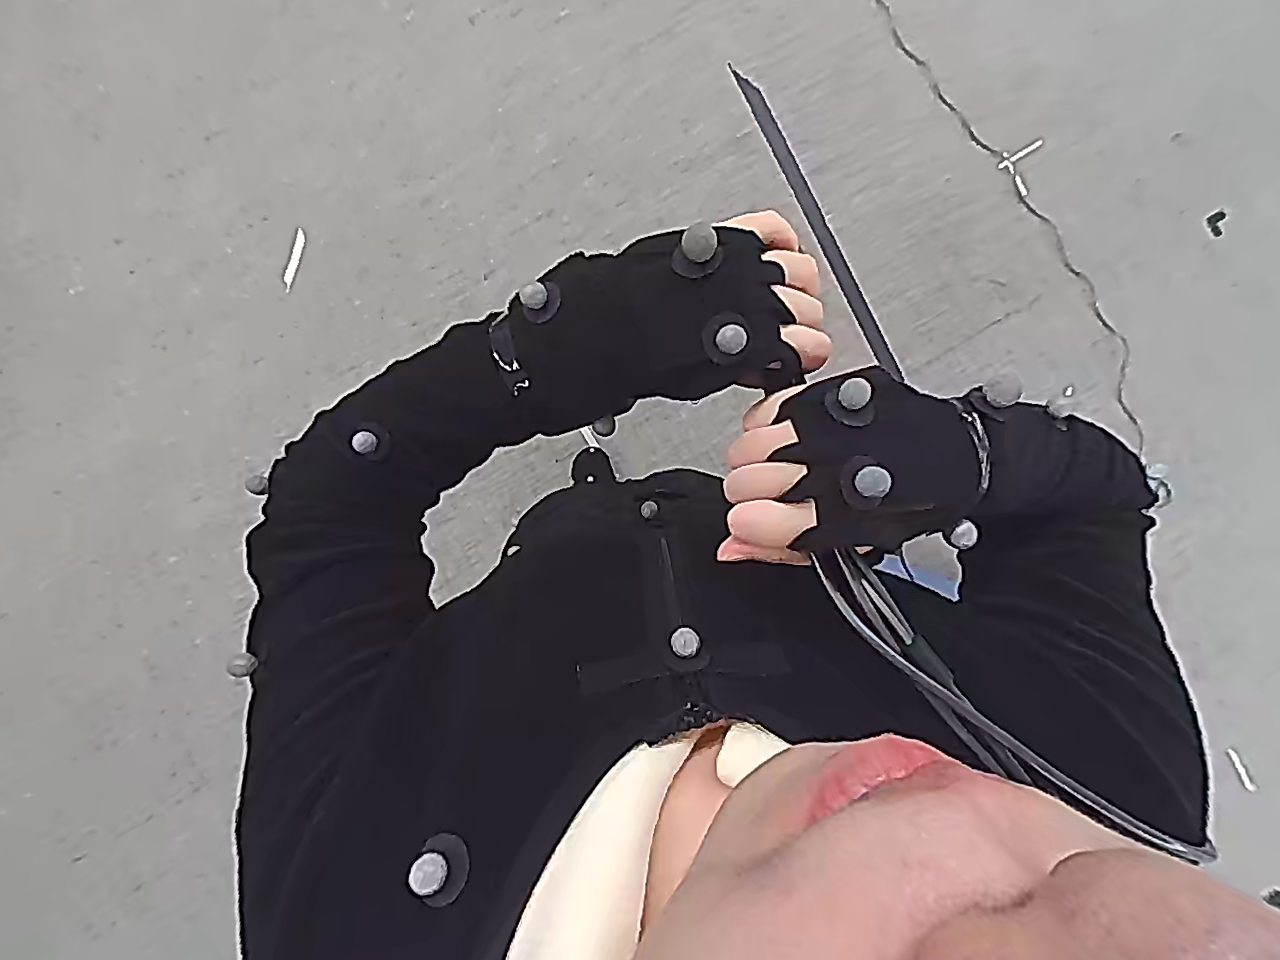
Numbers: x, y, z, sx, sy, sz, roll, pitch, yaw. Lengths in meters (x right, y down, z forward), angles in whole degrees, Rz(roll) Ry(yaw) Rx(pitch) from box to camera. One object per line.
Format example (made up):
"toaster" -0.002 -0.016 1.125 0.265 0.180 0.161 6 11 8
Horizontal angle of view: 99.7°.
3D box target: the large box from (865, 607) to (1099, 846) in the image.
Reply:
"large box" 0.761 0.540 1.252 0.320 0.320 0.408 8 92 -4
